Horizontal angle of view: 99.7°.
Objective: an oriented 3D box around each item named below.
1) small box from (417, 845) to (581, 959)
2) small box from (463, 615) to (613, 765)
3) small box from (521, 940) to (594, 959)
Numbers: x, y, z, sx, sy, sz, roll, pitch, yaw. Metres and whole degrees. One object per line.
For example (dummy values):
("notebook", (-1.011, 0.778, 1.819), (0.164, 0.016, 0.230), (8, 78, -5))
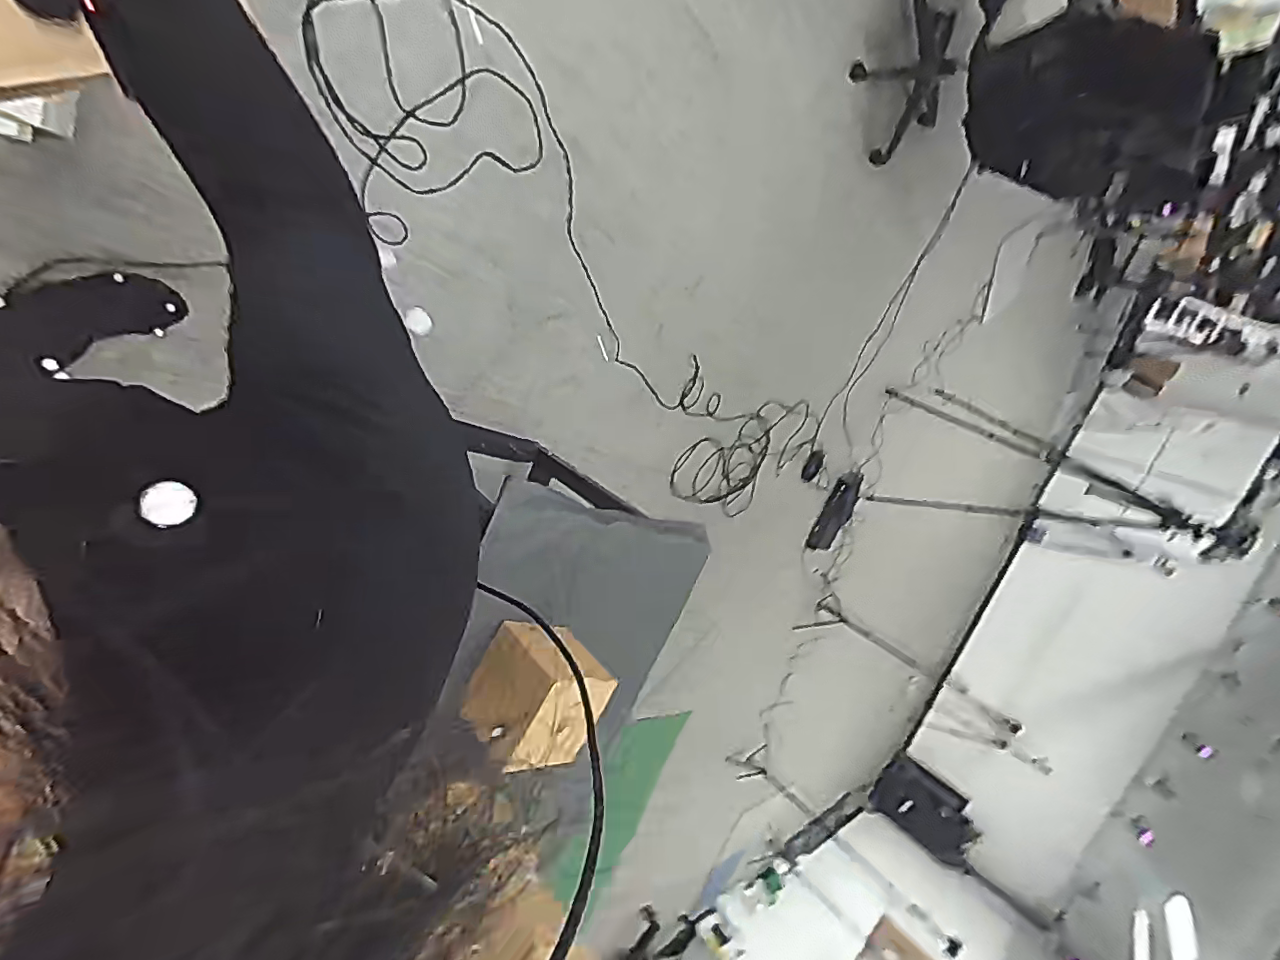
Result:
("small box", (-0.236, 0.748, 0.884), (0.179, 0.176, 0.168), (-46, 138, -16))
("small box", (-0.187, 0.366, 0.959), (0.168, 0.176, 0.179), (27, 93, -50))
("small box", (-0.129, 0.809, 0.778), (0.179, 0.176, 0.168), (-46, 139, -13))
